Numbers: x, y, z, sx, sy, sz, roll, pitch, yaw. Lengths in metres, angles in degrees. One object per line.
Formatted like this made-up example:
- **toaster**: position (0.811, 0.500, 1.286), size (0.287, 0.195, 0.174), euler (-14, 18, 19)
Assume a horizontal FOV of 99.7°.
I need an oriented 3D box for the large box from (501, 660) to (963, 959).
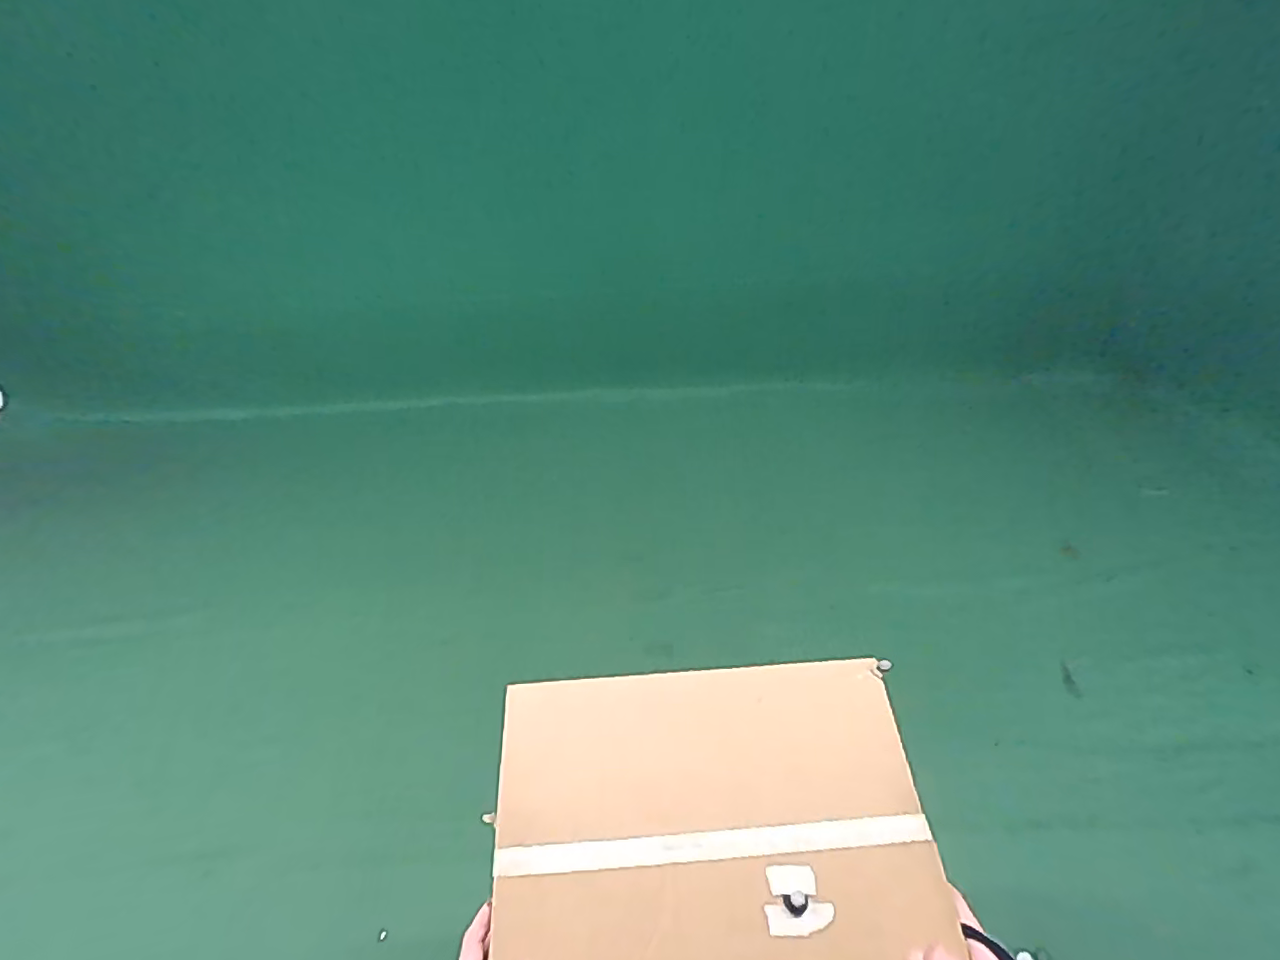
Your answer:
- **large box**: position (0.071, 0.427, 0.634), size (0.408, 0.320, 0.320), euler (-4, 57, -2)
